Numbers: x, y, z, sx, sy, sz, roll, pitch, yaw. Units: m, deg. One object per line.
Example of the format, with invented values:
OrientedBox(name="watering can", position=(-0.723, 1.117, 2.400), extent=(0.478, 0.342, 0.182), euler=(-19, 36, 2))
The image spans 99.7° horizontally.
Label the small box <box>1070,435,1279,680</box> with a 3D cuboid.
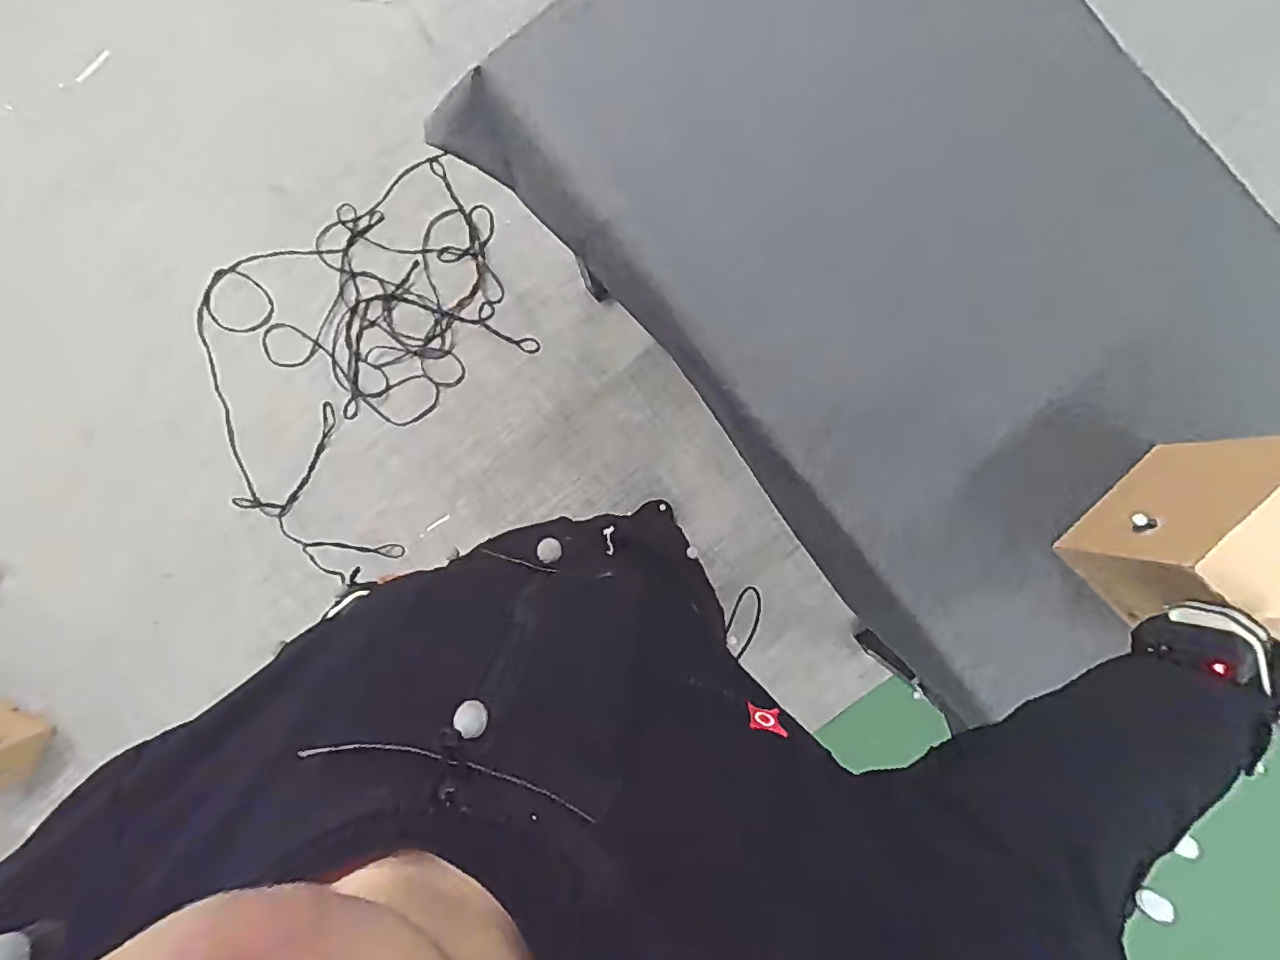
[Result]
OrientedBox(name="small box", position=(0.593, 0.076, 0.544), extent=(0.179, 0.176, 0.168), euler=(-45, 90, -1))
